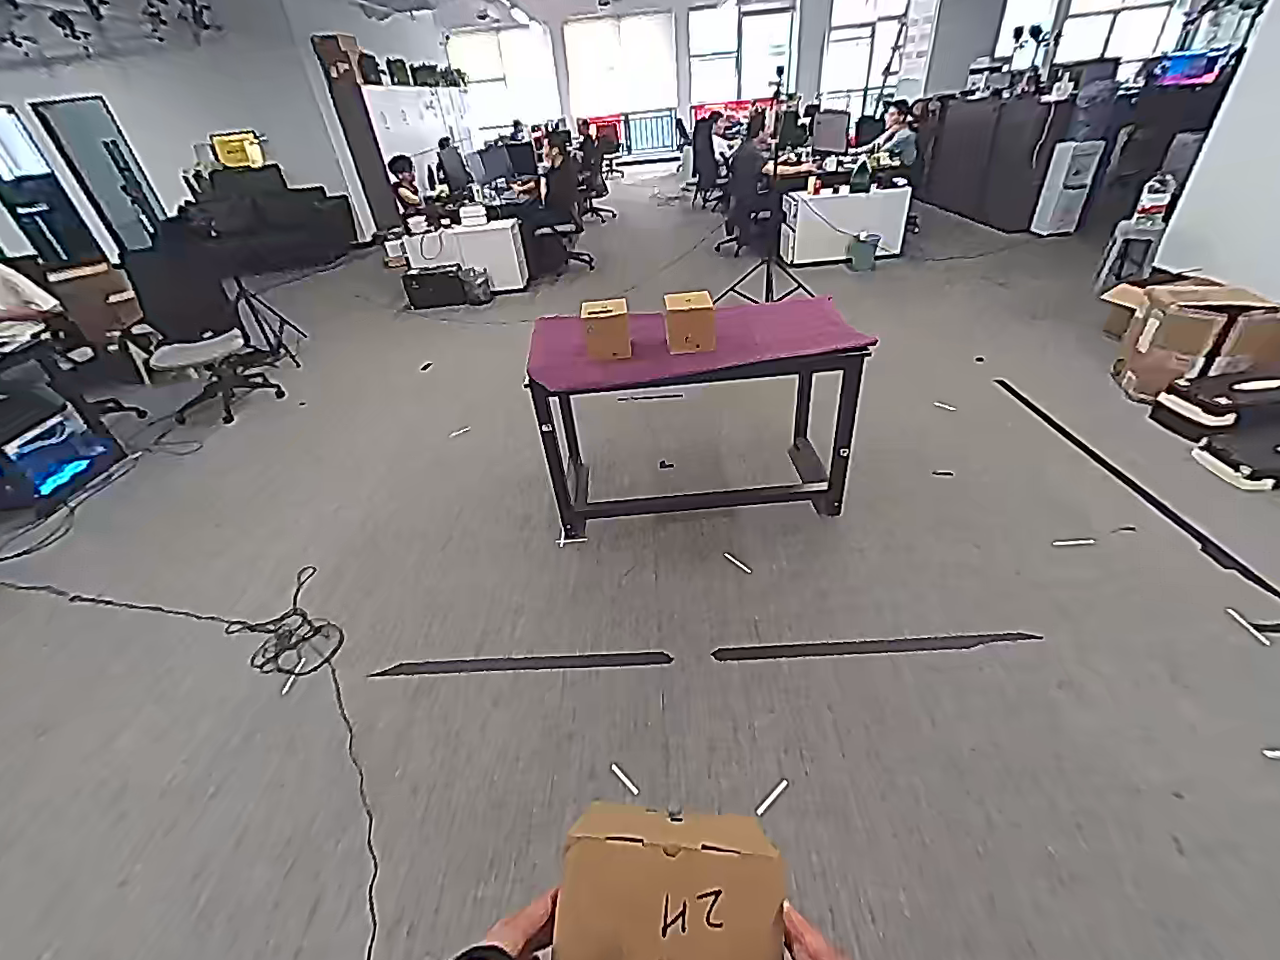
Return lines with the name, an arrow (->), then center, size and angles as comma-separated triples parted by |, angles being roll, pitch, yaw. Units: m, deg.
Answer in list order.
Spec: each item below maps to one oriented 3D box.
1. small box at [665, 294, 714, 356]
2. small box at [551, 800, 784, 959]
small box -> 0.180, -0.576, 2.008 | 0.168, 0.176, 0.179 | -5, 36, 1
small box -> 0.023, 0.383, 0.446 | 0.168, 0.176, 0.179 | 3, 66, 5
